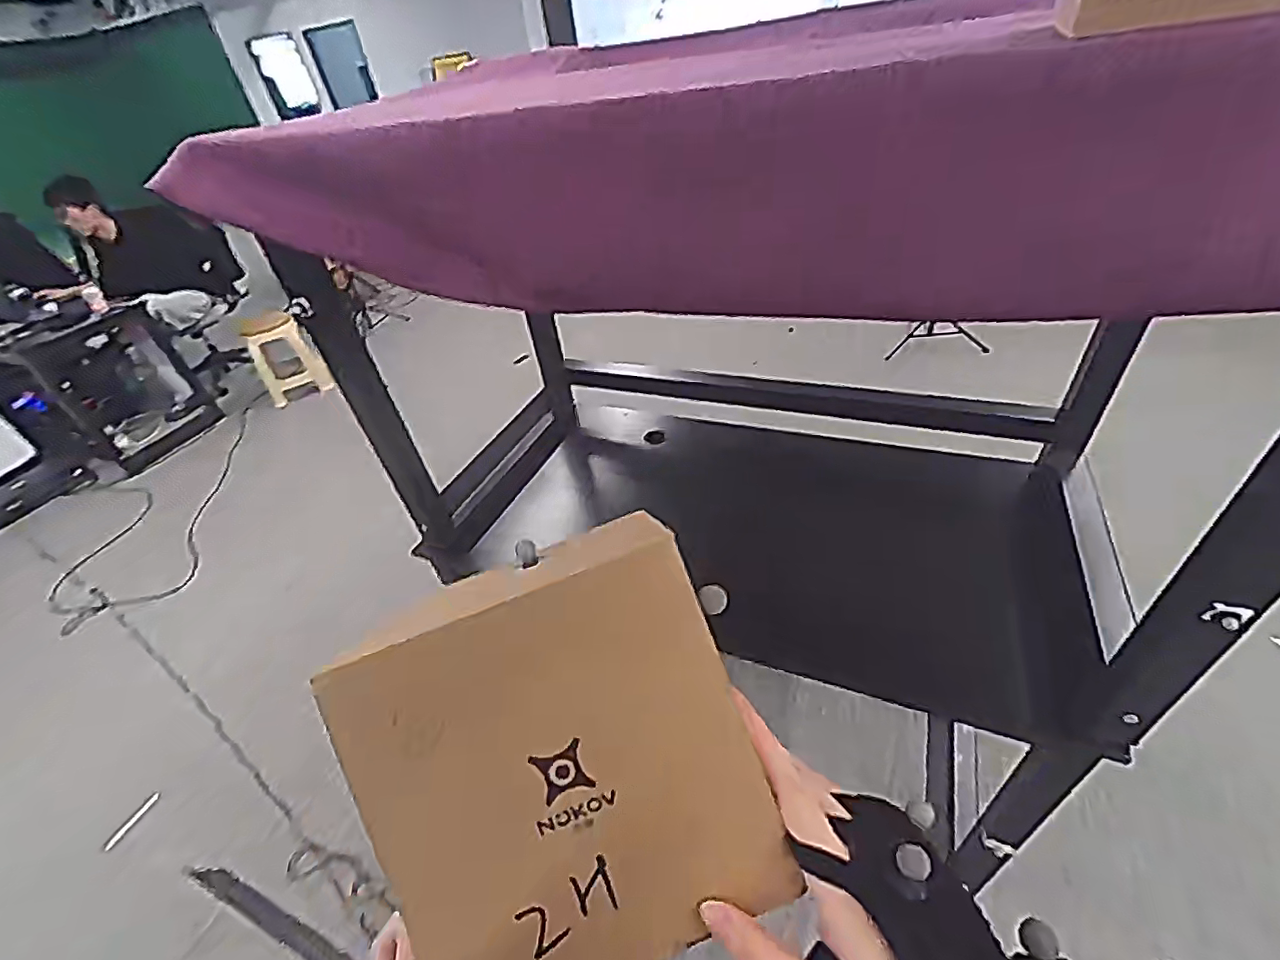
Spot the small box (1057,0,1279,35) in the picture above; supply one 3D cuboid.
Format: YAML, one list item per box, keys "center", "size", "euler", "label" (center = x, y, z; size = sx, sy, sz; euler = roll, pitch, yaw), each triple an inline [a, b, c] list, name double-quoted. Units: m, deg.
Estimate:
- center: [0.376, -0.380, 0.308]
  size: [0.179, 0.176, 0.168]
  euler: [11, 43, 25]
  label: "small box"
